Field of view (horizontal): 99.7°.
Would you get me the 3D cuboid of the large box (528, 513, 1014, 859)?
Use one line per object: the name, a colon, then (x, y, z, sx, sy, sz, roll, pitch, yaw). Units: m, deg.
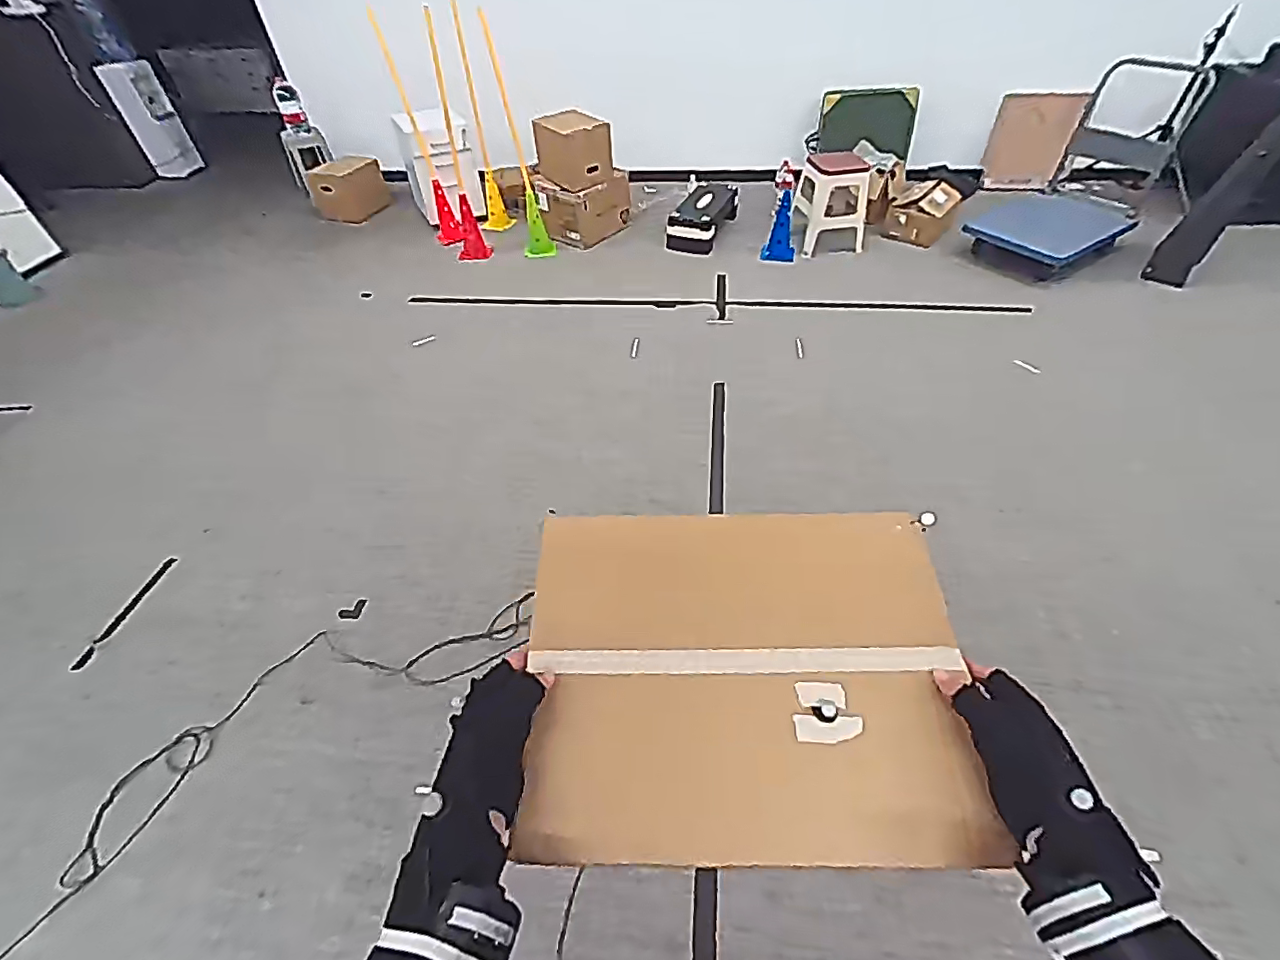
large box: (0.105, 0.249, 0.640, 0.408, 0.320, 0.320, -1, 58, 1)
